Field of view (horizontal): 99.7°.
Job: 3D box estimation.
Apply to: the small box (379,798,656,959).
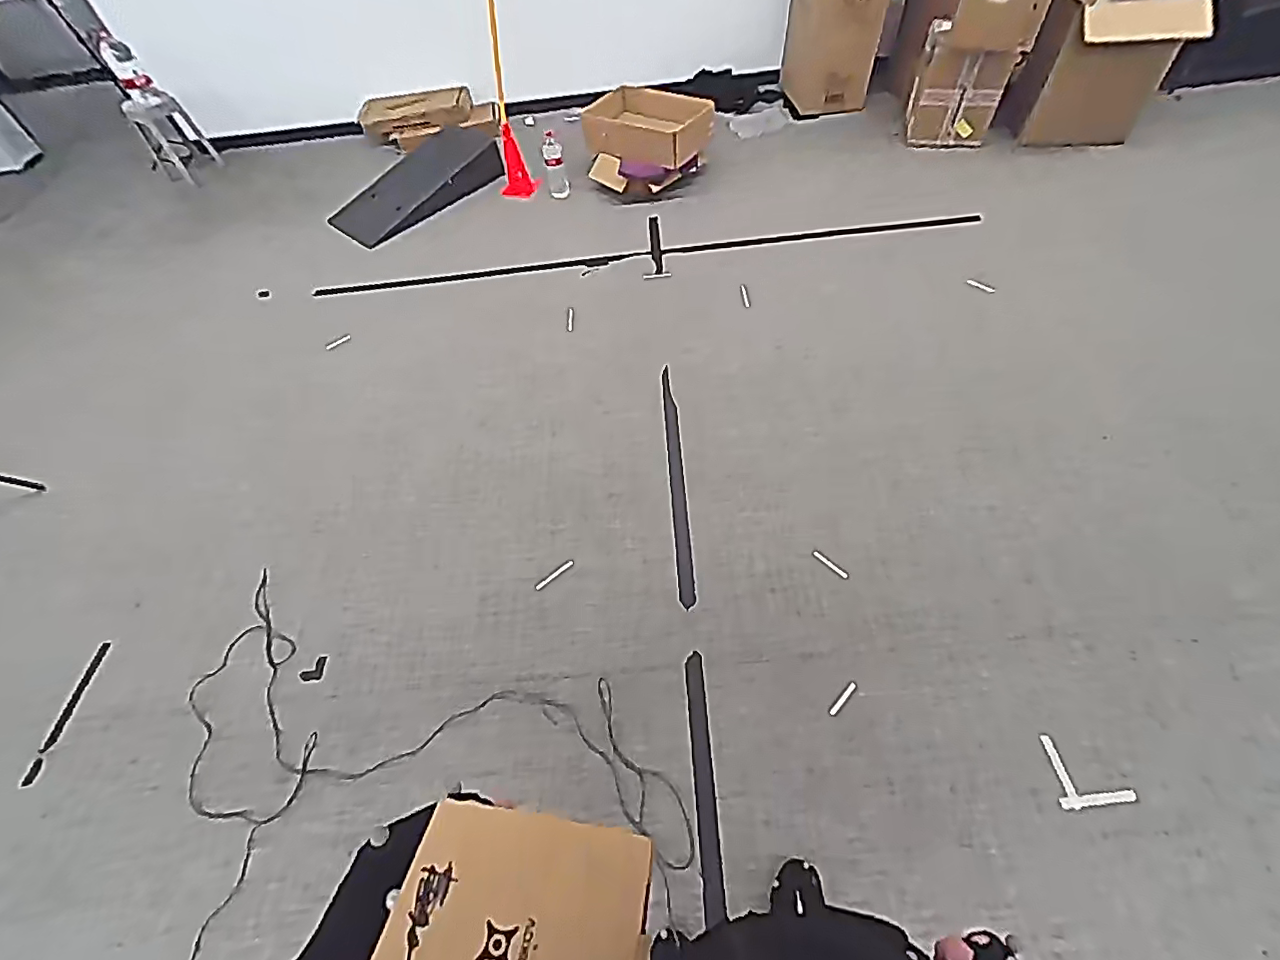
[{"bbox_3d":[-0.089,0.380,0.413,0.179,0.176,0.168,7,36,5],"label":"small box"}]
